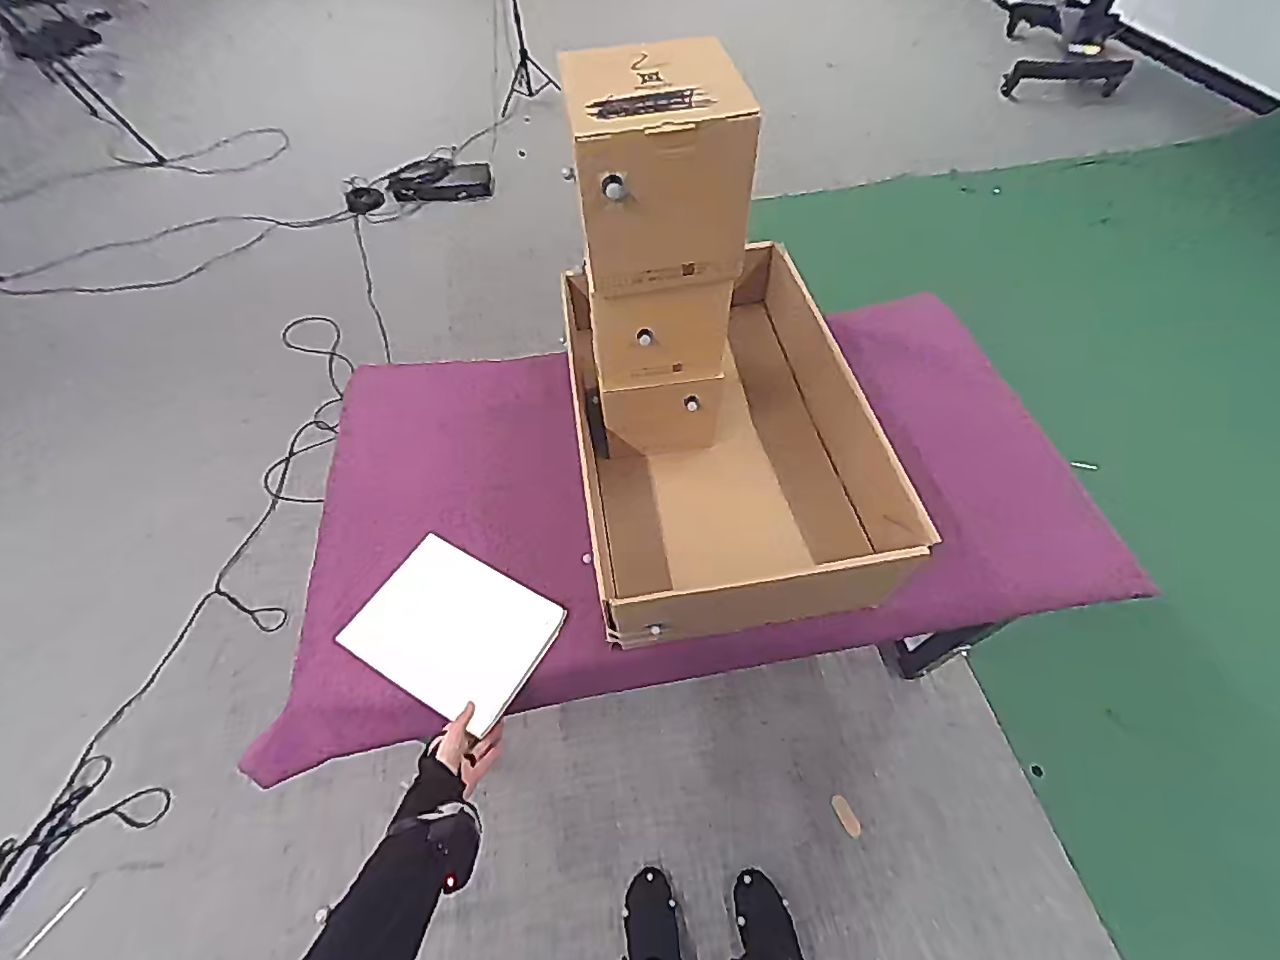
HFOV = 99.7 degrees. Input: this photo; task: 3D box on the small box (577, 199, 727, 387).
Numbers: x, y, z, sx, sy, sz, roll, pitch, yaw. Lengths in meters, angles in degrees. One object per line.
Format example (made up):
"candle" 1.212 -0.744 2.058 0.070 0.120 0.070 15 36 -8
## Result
"small box" 0.013 -0.240 0.722 0.168 0.176 0.179 -8 57 -3
